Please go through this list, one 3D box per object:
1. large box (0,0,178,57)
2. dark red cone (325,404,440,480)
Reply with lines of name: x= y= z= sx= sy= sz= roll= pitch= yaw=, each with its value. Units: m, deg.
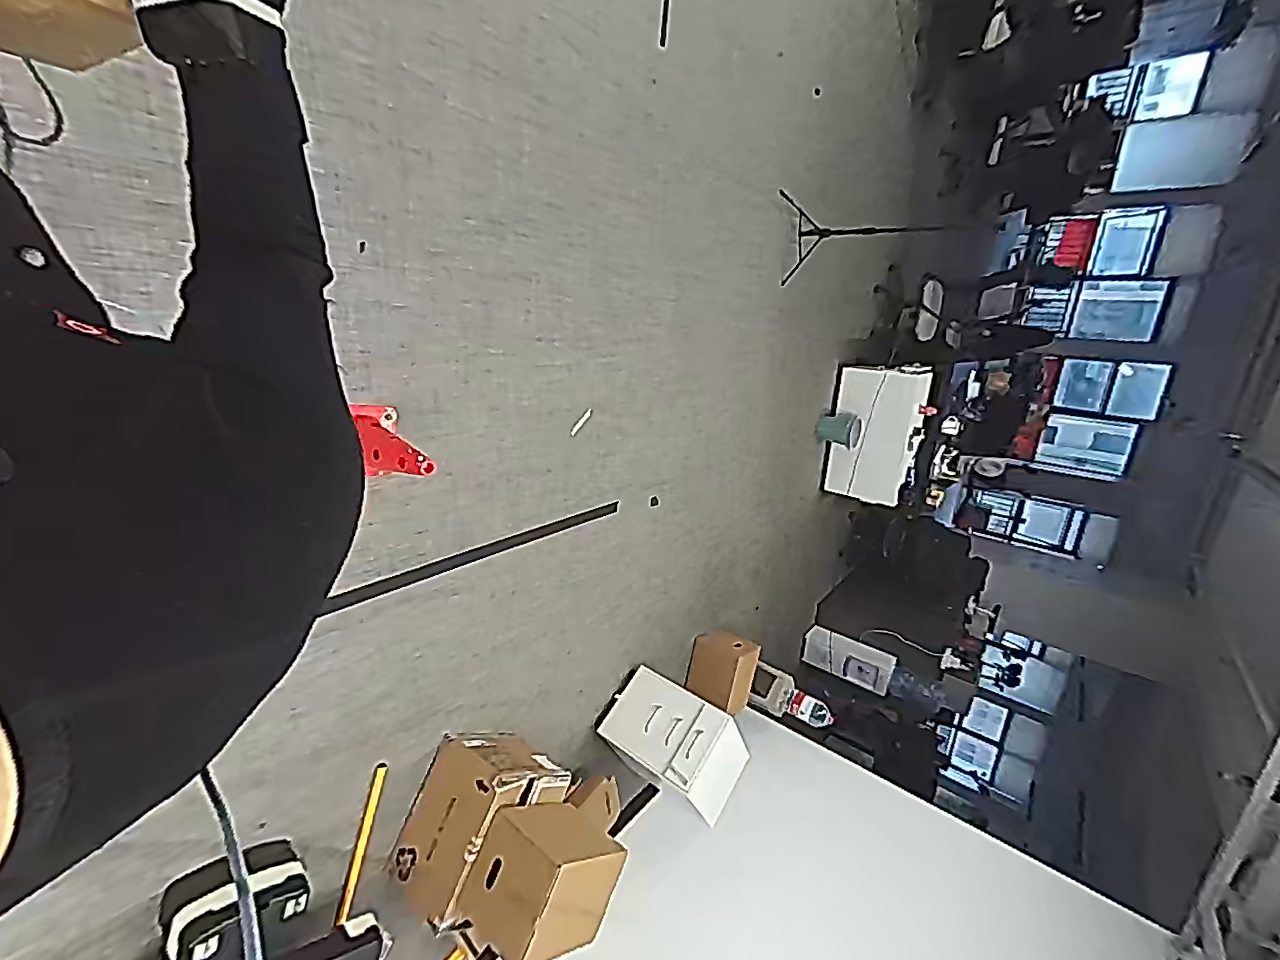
large box: x=-0.521 y=-0.452 z=0.232 sx=0.408 sy=0.320 sz=0.320 roll=-18 pitch=124 yaw=-50
dark red cone: x=-0.622 y=-0.067 z=1.363 sx=0.201 sy=0.394 sz=0.202 roll=-7 pitch=109 yaw=-50
